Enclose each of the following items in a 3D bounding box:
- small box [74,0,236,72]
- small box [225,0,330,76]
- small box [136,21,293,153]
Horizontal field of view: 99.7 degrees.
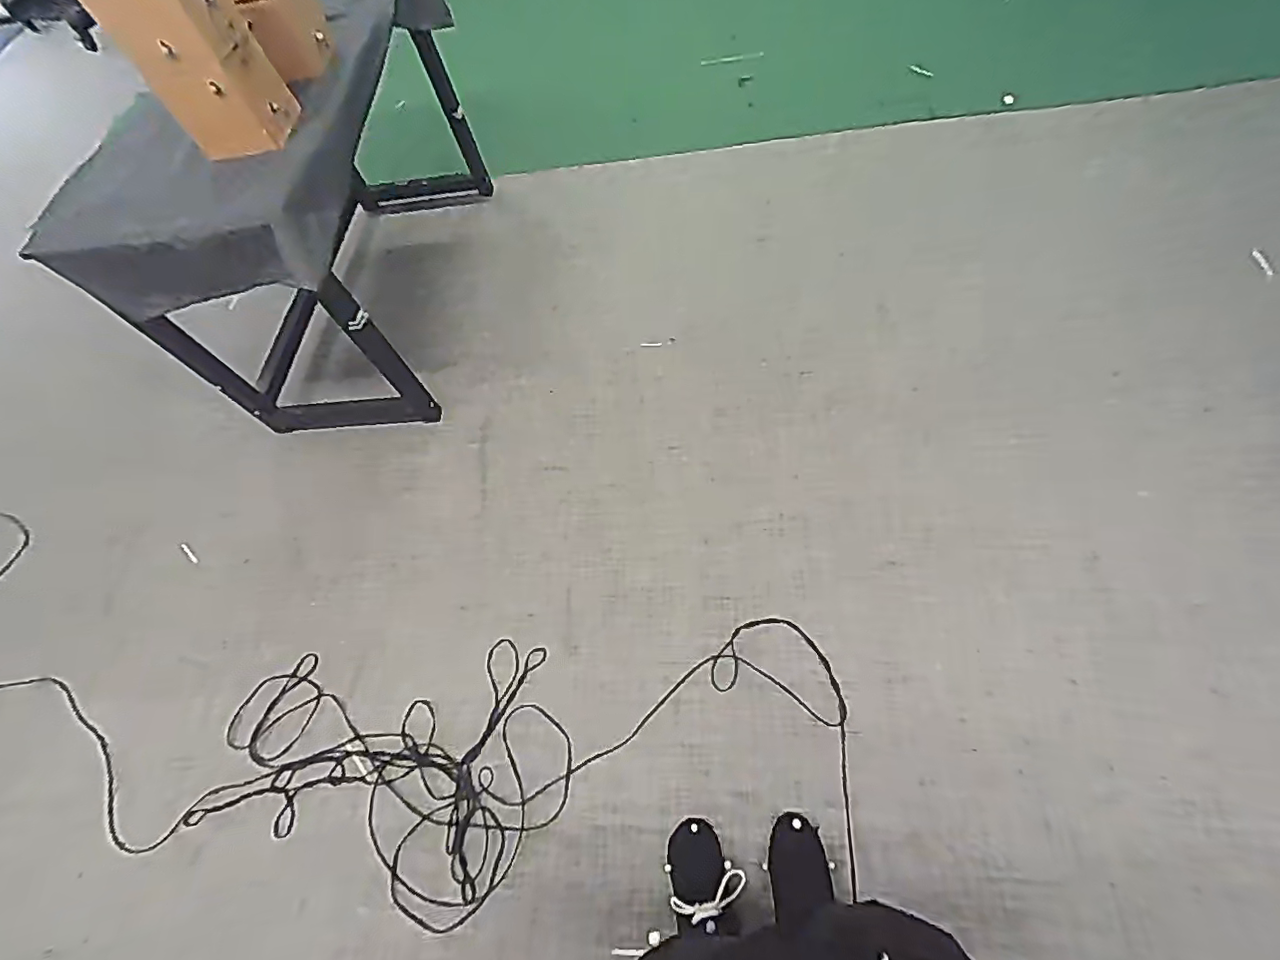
[{"bbox_3d":[-0.921,-0.914,1.021,0.179,0.176,0.168,-7,62,5],"label":"small box"},{"bbox_3d":[-0.893,-1.102,1.296,0.179,0.176,0.168,-4,63,7],"label":"small box"},{"bbox_3d":[-0.900,-0.835,1.162,0.179,0.176,0.168,-6,62,6],"label":"small box"}]
